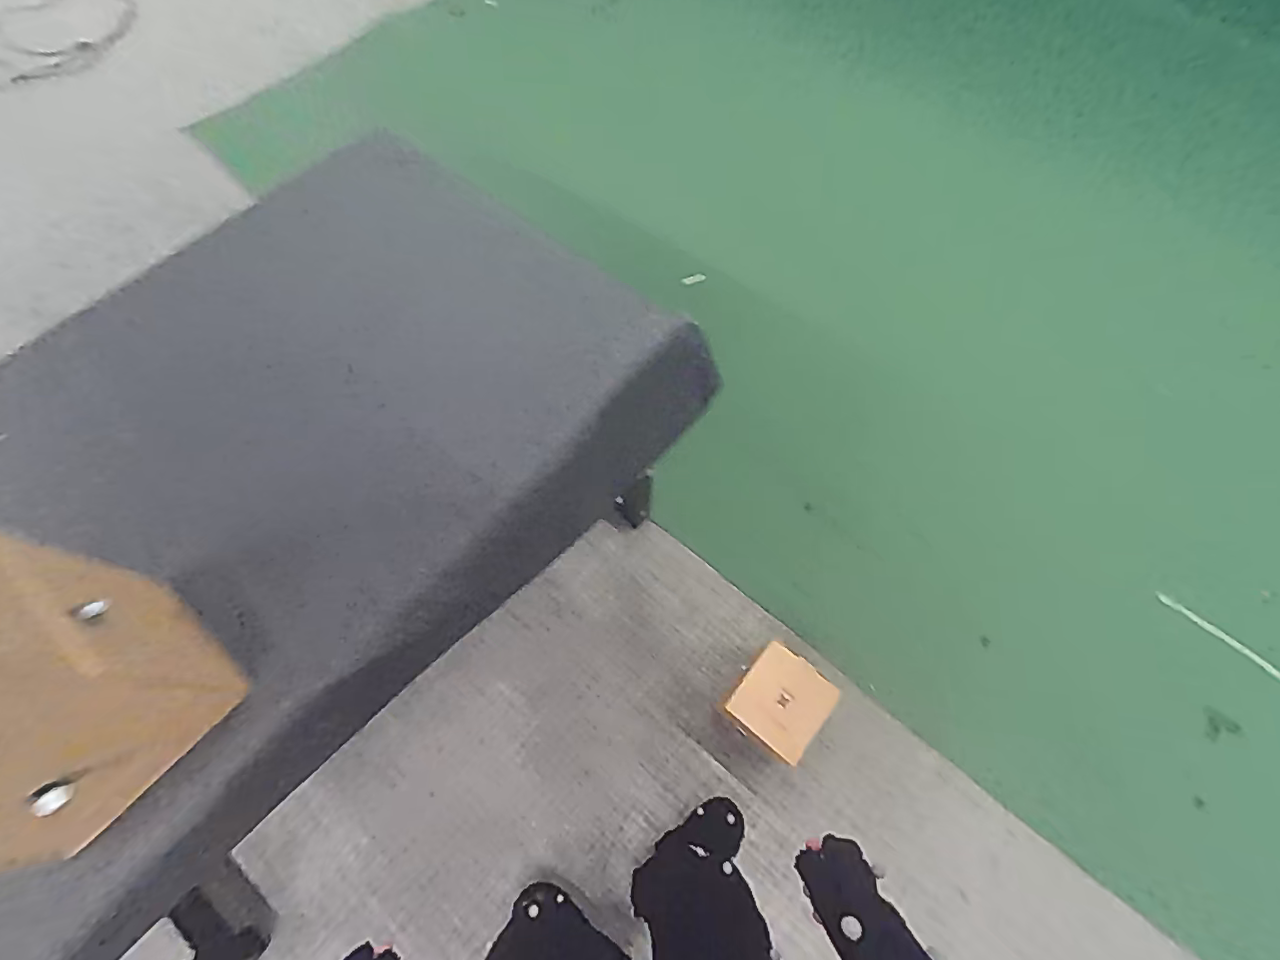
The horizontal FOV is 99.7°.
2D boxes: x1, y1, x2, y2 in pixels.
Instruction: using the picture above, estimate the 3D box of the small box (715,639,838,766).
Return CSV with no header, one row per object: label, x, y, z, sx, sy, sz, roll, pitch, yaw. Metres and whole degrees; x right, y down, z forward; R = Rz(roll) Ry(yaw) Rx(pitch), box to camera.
small box,0.275,0.462,1.134,0.168,0.176,0.179,38,72,15
